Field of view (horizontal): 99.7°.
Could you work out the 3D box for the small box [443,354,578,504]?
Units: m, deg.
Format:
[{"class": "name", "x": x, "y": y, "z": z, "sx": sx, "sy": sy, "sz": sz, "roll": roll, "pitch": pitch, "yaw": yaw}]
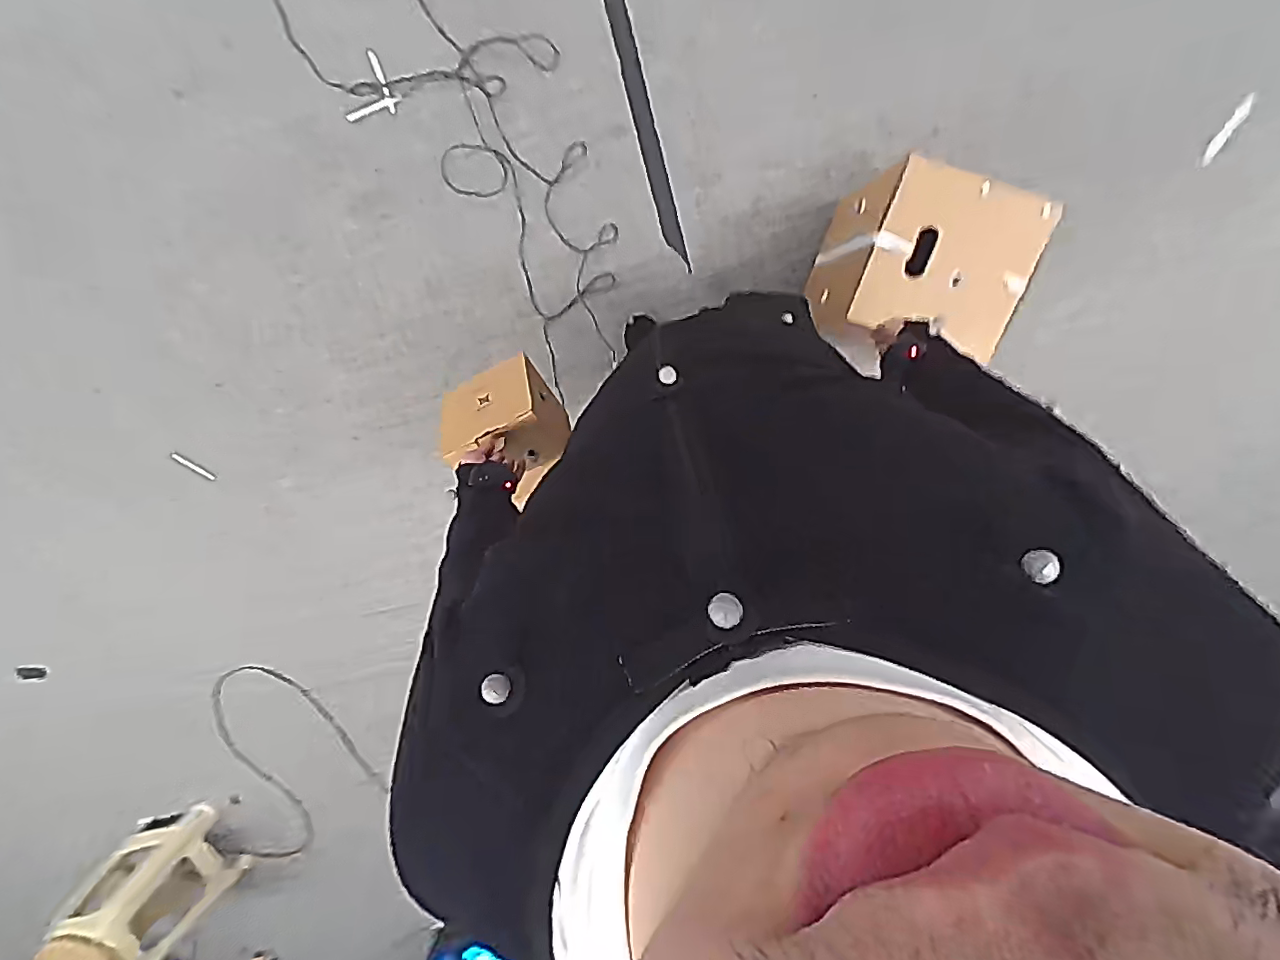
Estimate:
[{"class": "small box", "x": -0.224, "y": -0.080, "z": 0.952, "sx": 0.168, "sy": 0.179, "sz": 0.176, "roll": -26, "pitch": 136, "yaw": 6}]
